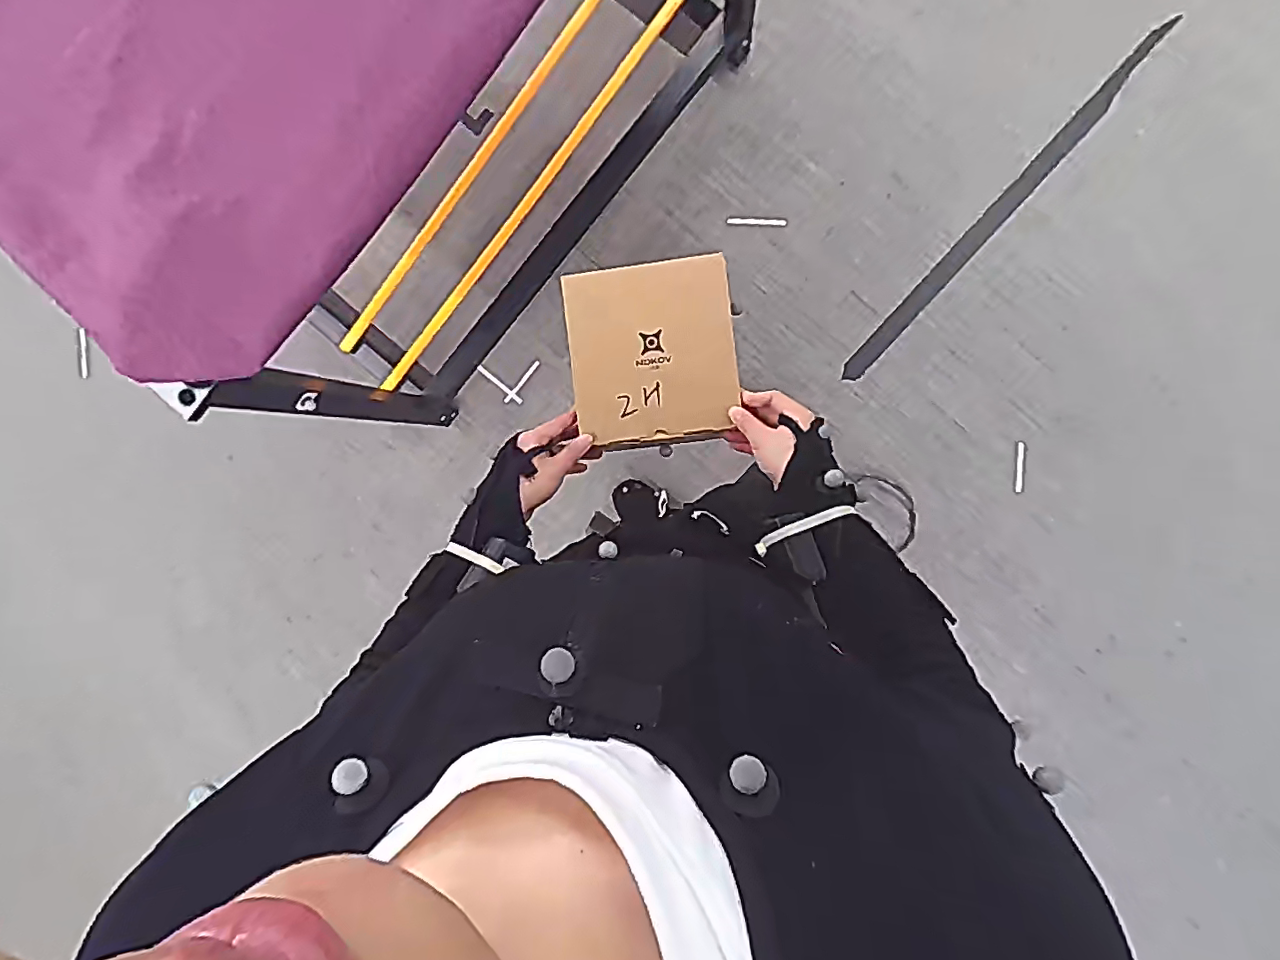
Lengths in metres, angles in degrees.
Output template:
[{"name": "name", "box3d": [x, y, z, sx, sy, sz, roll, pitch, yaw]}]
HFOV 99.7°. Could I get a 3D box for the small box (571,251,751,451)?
[{"name": "small box", "box3d": [0.025, -0.128, 0.605, 0.168, 0.176, 0.179, -6, 91, 5]}]
